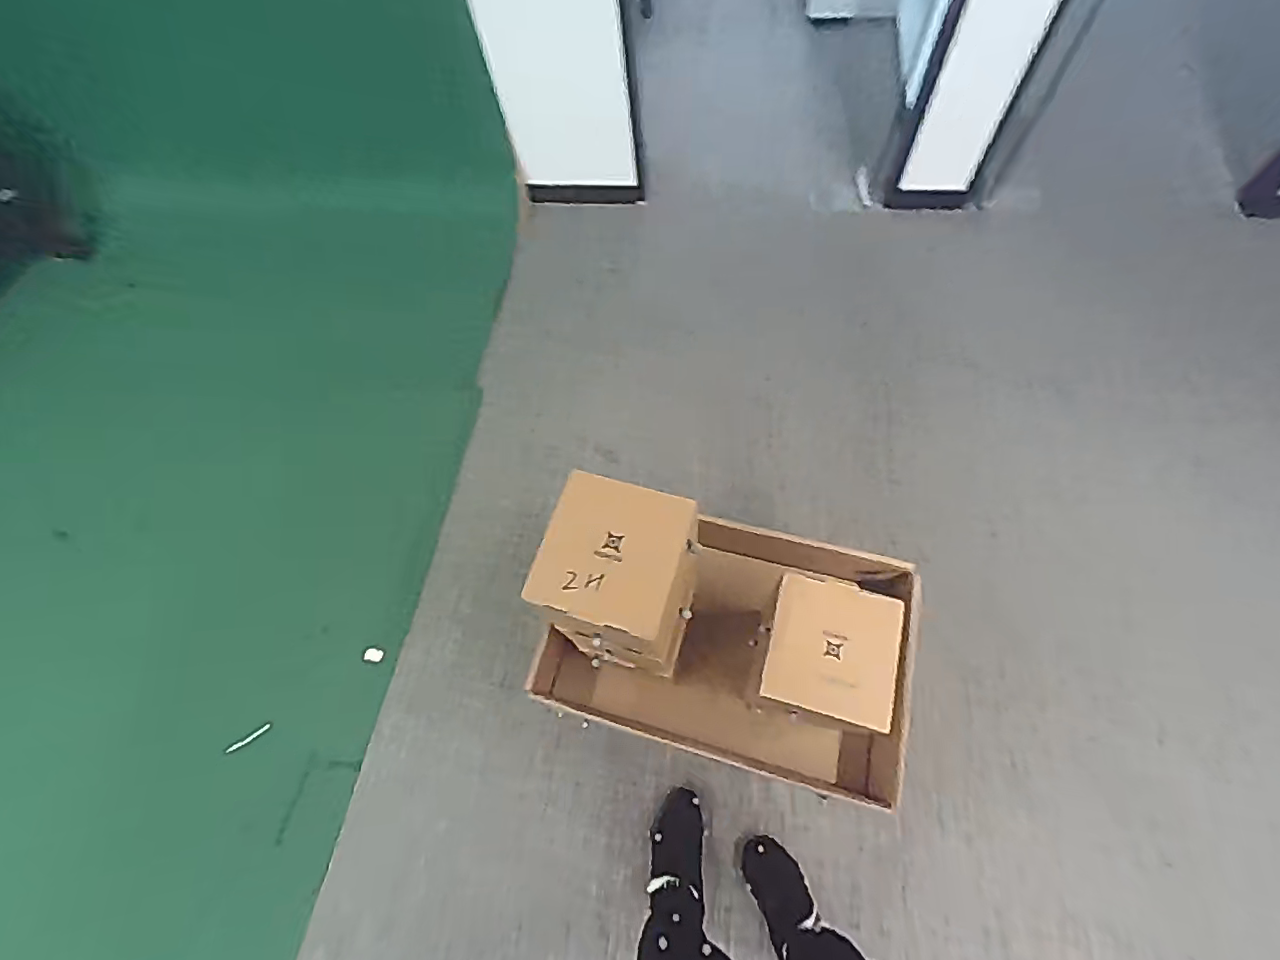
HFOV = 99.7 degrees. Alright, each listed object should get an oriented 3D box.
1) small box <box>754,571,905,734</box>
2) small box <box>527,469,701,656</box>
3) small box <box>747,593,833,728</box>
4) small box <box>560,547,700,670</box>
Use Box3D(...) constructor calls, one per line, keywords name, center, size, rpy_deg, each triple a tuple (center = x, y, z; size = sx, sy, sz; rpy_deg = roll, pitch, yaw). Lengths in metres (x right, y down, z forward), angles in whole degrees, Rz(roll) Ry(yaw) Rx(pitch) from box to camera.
Box3D(name="small box", center=(0.269, 0.257, 0.797), size=(0.168, 0.176, 0.179), rpy_deg=(14, 68, 13))
Box3D(name="small box", center=(-0.023, 0.114, 0.713), size=(0.168, 0.176, 0.179), rpy_deg=(15, 68, 13))
Box3D(name="small box", center=(0.287, 0.321, 0.946), size=(0.168, 0.176, 0.179), rpy_deg=(14, 67, 12))
Box3D(name="small box", center=(-0.008, 0.187, 0.862), size=(0.168, 0.176, 0.179), rpy_deg=(15, 68, 12))
